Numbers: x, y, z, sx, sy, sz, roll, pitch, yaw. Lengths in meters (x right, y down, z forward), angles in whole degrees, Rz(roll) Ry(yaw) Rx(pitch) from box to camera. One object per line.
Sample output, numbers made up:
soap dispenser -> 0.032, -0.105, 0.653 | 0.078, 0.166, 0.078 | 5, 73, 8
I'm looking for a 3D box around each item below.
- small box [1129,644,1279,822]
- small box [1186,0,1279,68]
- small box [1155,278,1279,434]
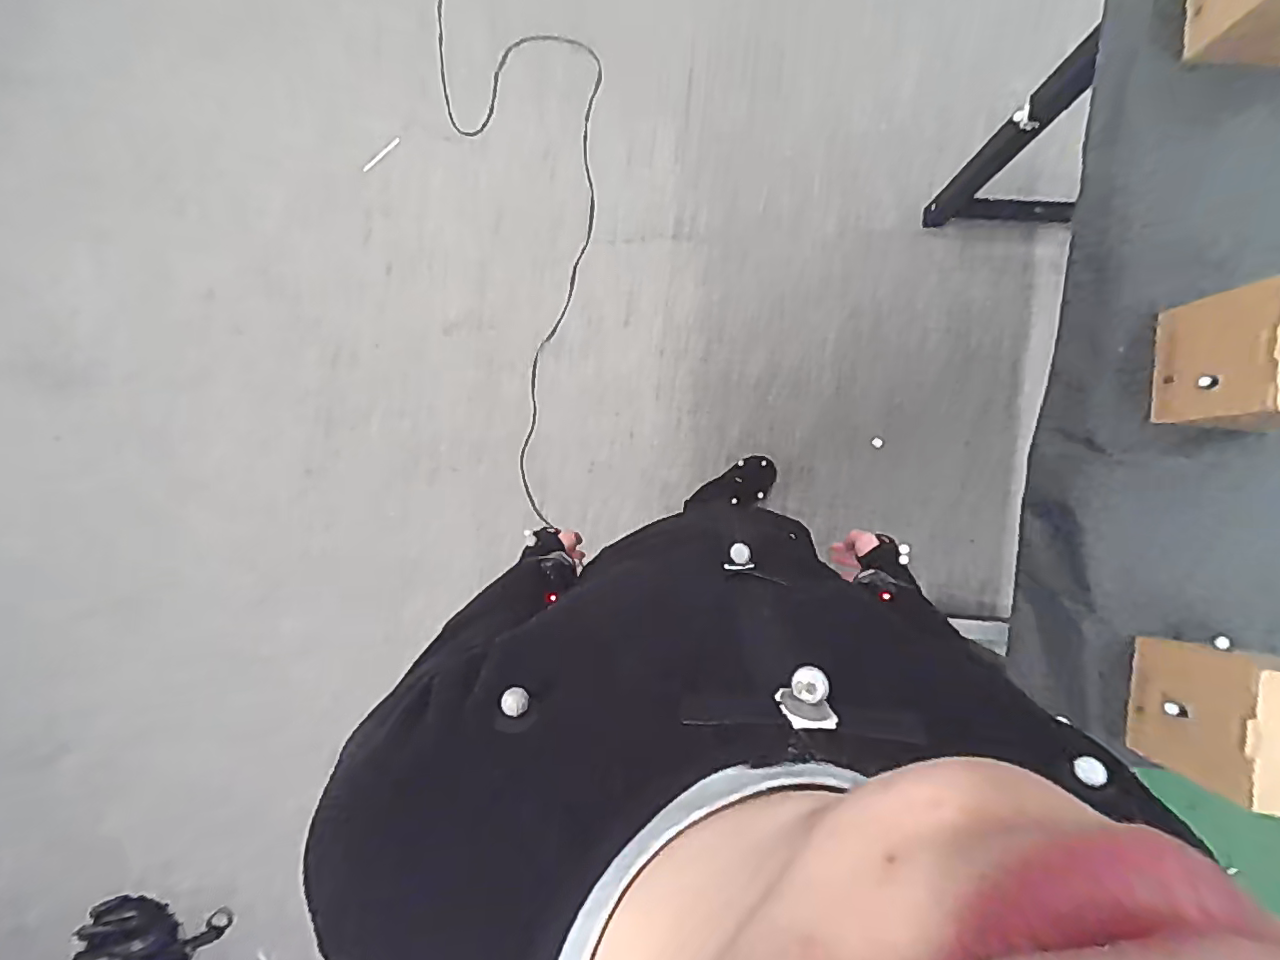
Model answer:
small box -> 0.789, 0.321, 0.696 | 0.179, 0.176, 0.168 | 8, 88, 2
small box -> 0.878, -0.671, 0.694 | 0.179, 0.176, 0.168 | 5, 91, 3
small box -> 0.831, -0.151, 0.701 | 0.179, 0.176, 0.168 | 4, 91, 1
